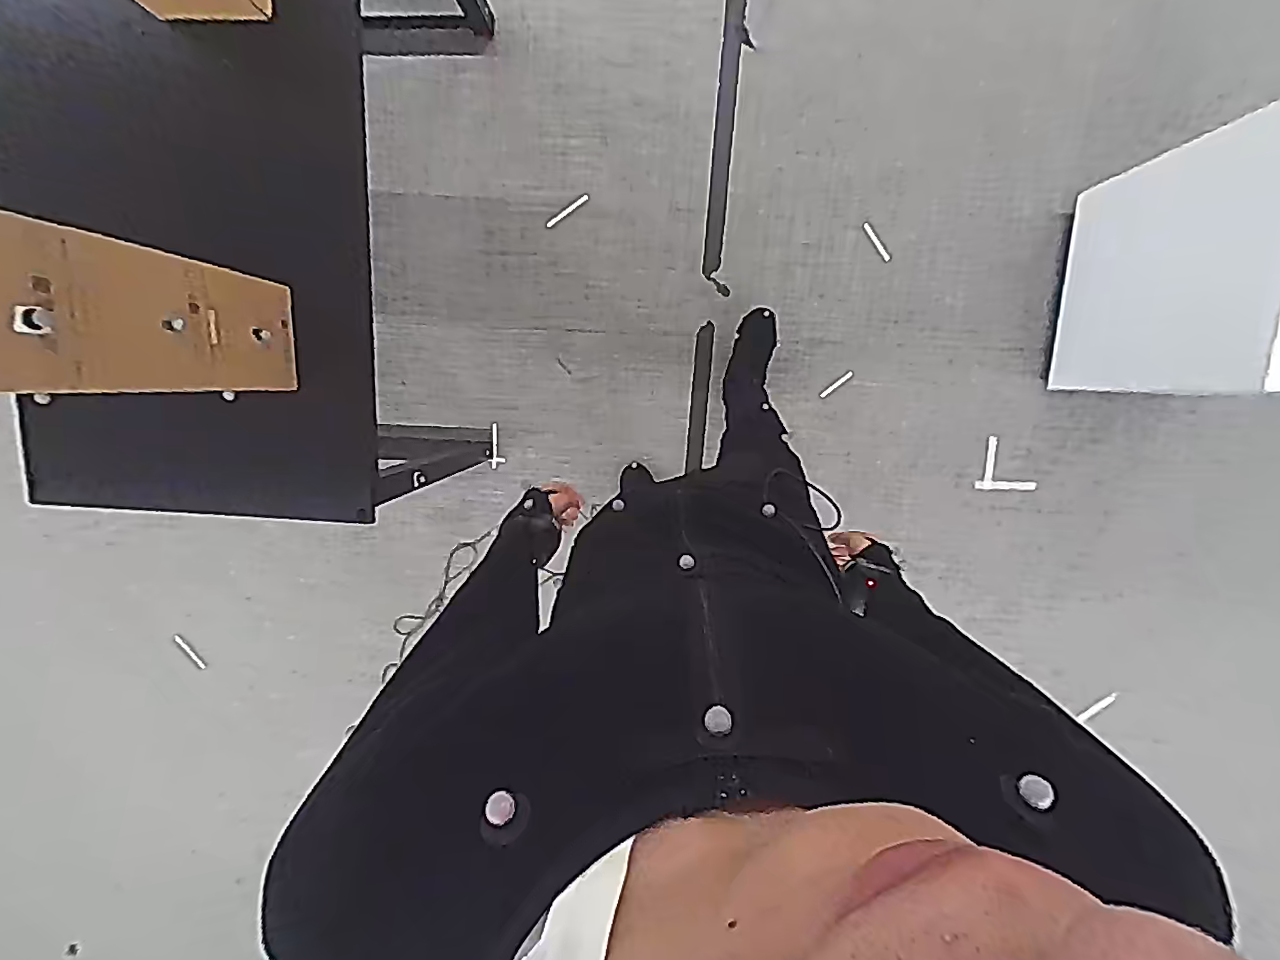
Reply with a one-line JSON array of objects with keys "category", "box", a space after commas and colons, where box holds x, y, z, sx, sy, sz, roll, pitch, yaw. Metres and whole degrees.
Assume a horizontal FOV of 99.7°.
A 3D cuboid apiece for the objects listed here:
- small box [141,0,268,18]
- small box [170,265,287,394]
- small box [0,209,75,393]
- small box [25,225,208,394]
[{"category": "small box", "box": [-0.626, -0.742, 0.697, 0.179, 0.176, 0.168, 2, 100, 2]}, {"category": "small box", "box": [-0.646, -0.212, 0.785, 0.179, 0.176, 0.168, 2, 99, 2]}, {"category": "small box", "box": [-0.660, -0.160, 0.462, 0.179, 0.176, 0.168, 2, 101, 2]}, {"category": "small box", "box": [-0.654, -0.186, 0.623, 0.179, 0.176, 0.168, 2, 100, 2]}]
